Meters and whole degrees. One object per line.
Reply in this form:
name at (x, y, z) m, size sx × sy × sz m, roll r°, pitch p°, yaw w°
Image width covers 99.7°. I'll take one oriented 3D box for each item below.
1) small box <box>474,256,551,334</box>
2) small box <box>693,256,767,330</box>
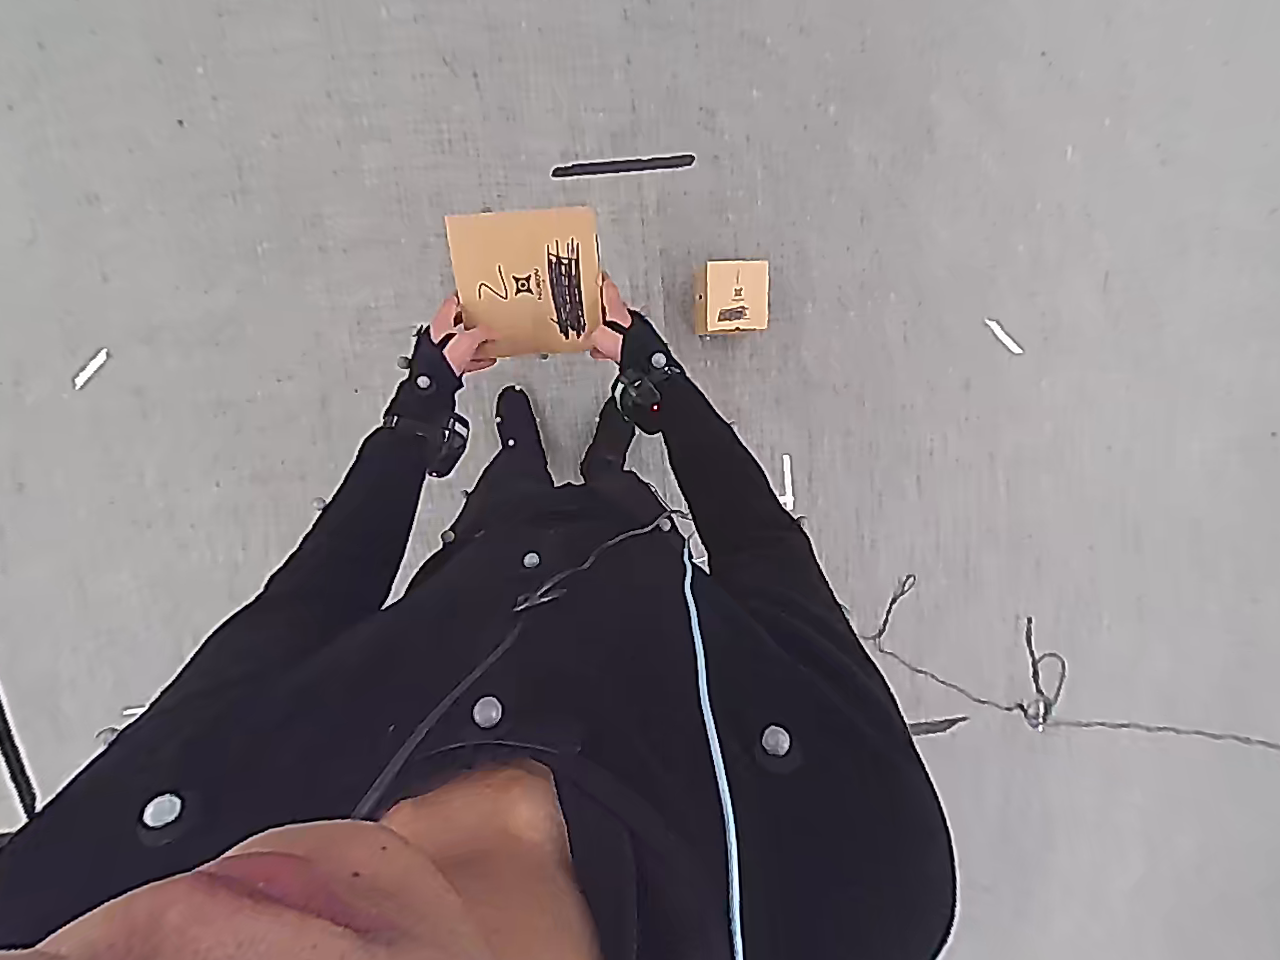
small box at (-0.331, -0.483, 1.436) m, size 0.168 × 0.176 × 0.179 m, roll -4°, pitch 101°, yaw -4°
small box at (0.241, -0.504, 1.479) m, size 0.168 × 0.176 × 0.179 m, roll -3°, pitch 101°, yaw -5°
